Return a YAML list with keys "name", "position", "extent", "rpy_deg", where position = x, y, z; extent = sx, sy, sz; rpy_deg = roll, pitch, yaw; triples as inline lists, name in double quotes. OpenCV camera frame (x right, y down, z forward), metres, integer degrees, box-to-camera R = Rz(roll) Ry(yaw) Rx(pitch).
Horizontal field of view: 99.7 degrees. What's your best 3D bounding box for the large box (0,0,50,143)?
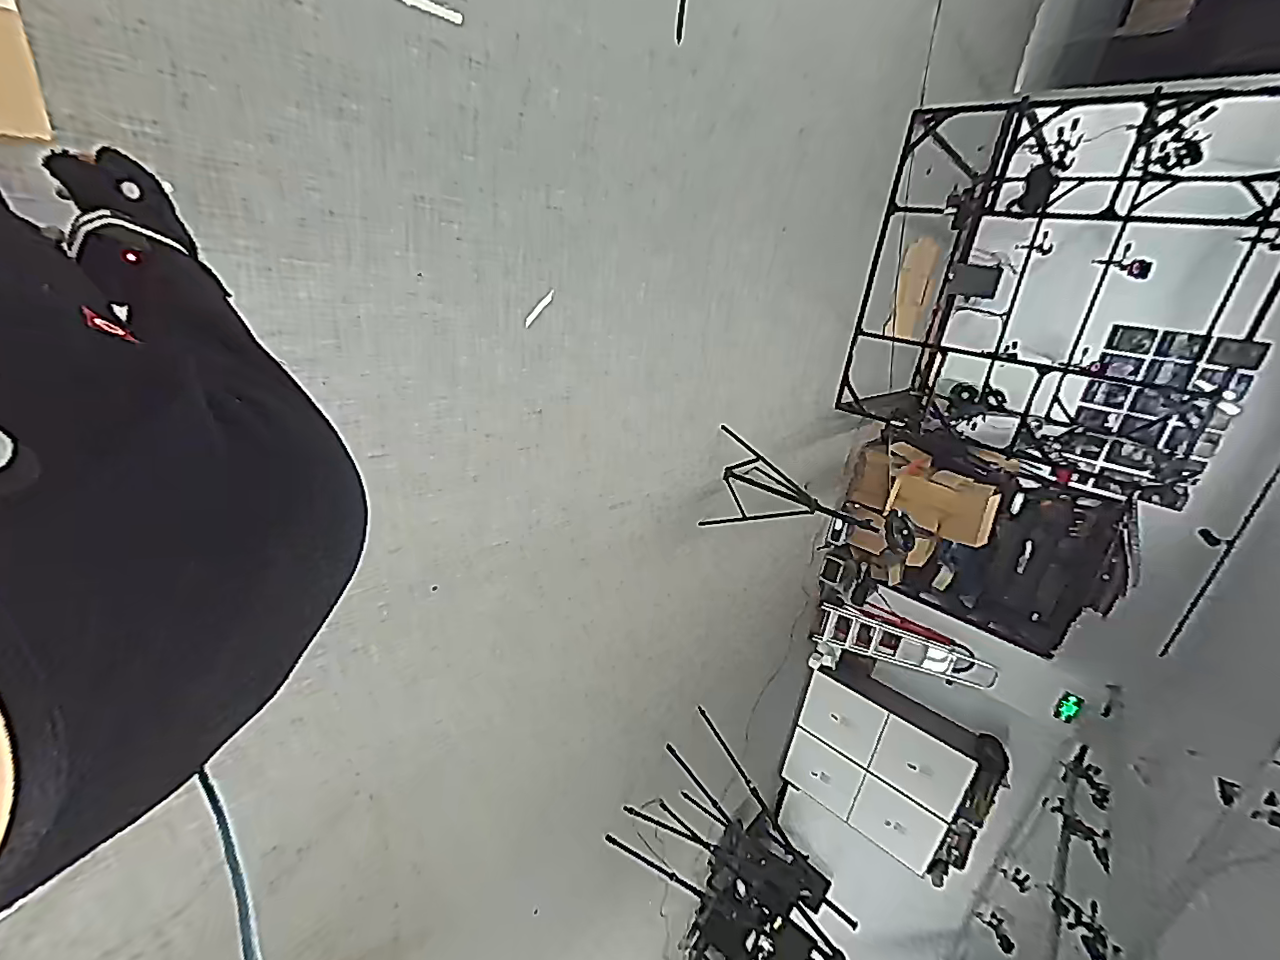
- name: "large box"
  position: [-1.056, -0.620, 0.642]
  extent: [0.408, 0.320, 0.320]
  rpy_deg: [-21, 125, -47]
